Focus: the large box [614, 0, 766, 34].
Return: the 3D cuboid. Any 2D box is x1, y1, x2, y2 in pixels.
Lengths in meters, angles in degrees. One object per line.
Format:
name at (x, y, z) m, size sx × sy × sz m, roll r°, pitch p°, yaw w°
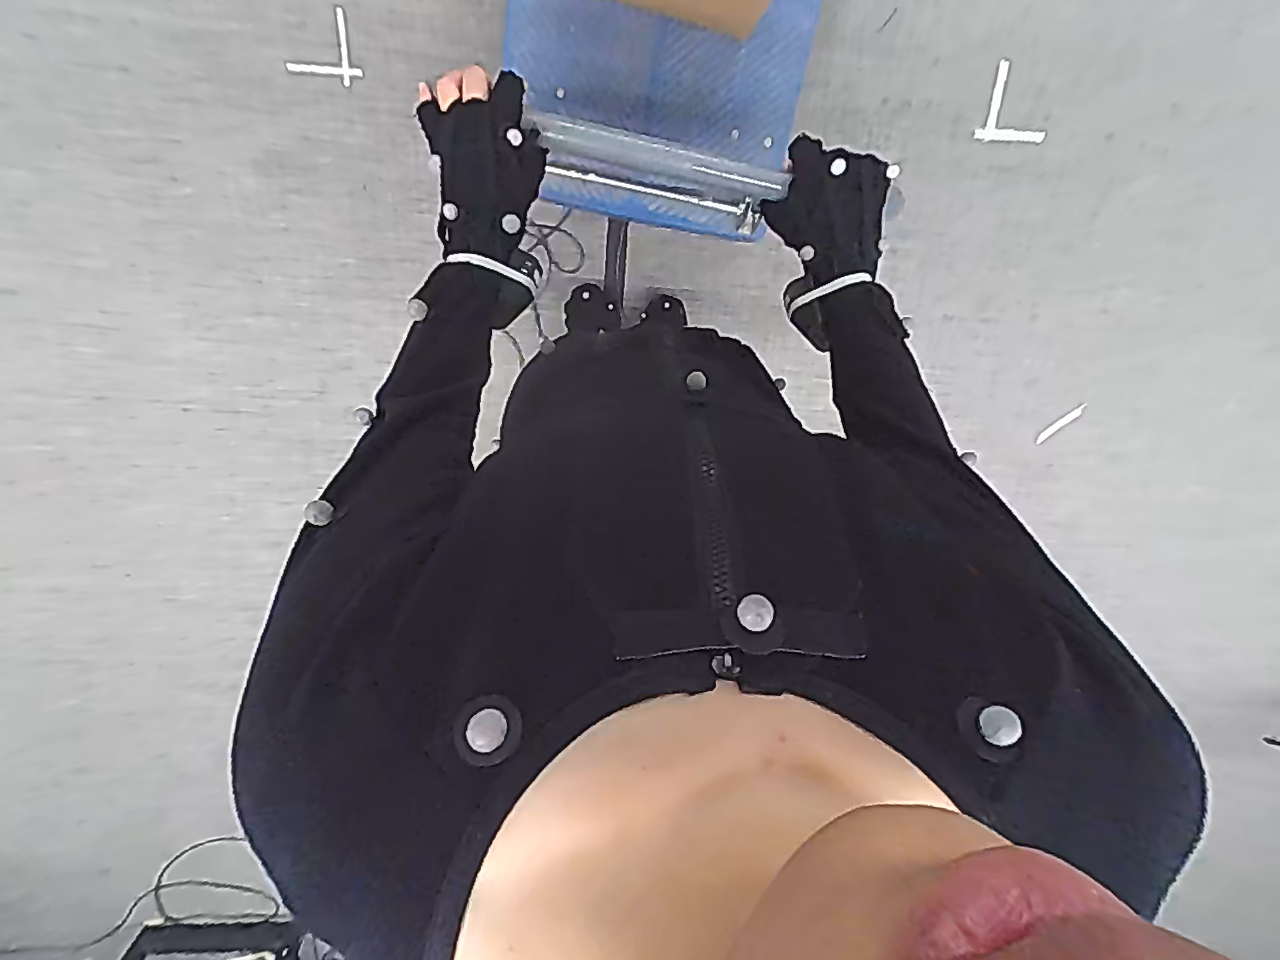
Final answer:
large box at (0.047, -0.972, 0.832) m, size 0.408 × 0.320 × 0.320 m, roll 10°, pitch 110°, yaw -7°
